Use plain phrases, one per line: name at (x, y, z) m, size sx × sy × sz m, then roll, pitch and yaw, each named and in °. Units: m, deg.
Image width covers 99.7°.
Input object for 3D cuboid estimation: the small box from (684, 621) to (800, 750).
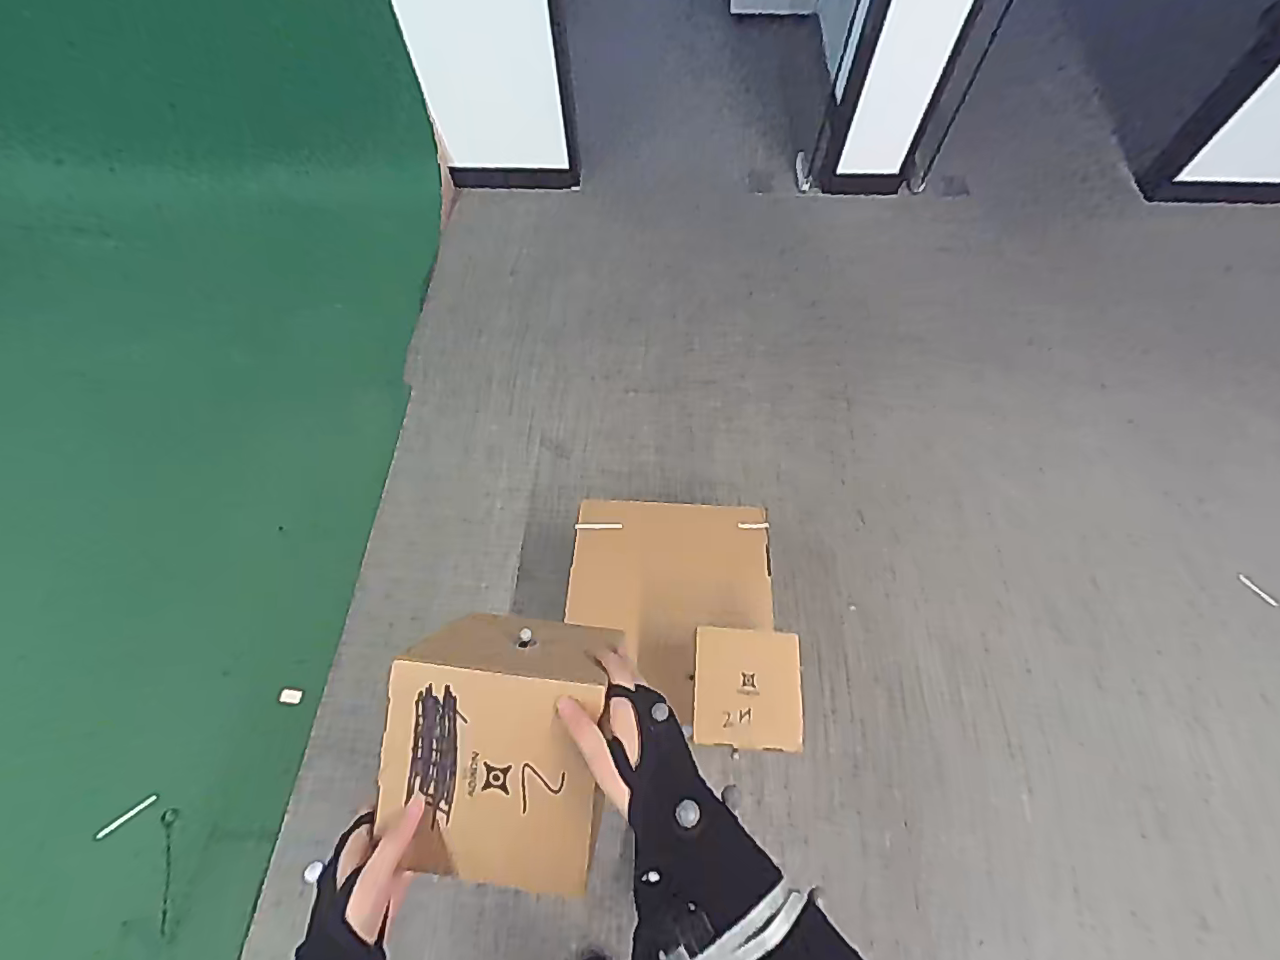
small box at (0.164, 0.350, 0.912) m, size 0.168 × 0.176 × 0.179 m, roll 4°, pitch 63°, yaw 2°
